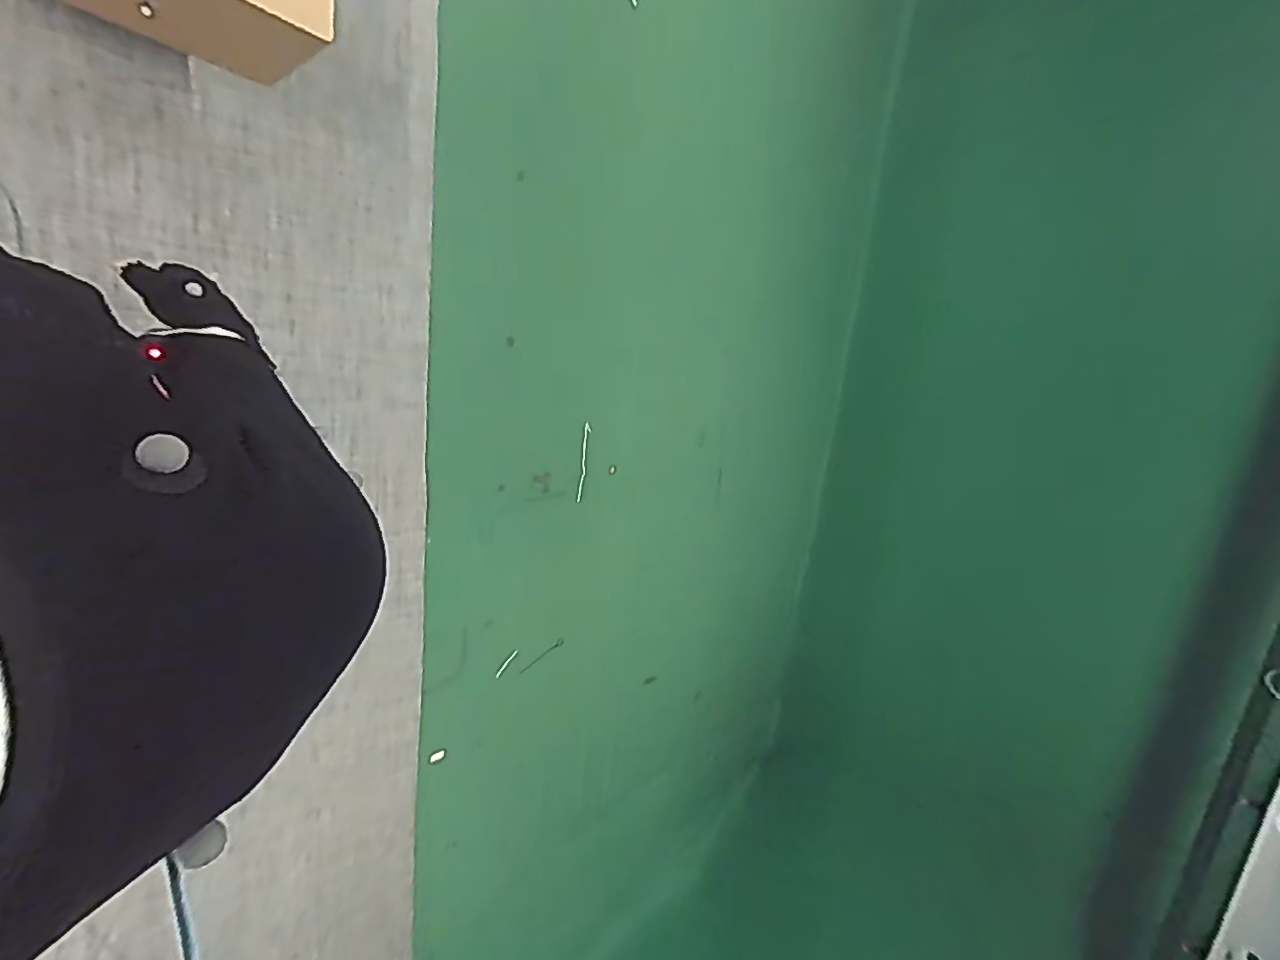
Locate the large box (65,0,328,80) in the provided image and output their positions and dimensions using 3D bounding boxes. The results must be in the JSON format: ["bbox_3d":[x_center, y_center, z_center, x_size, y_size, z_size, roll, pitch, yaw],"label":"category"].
[{"bbox_3d":[-0.720,-0.866,0.780,0.408,0.320,0.320,-5,107,-49],"label":"large box"}]
